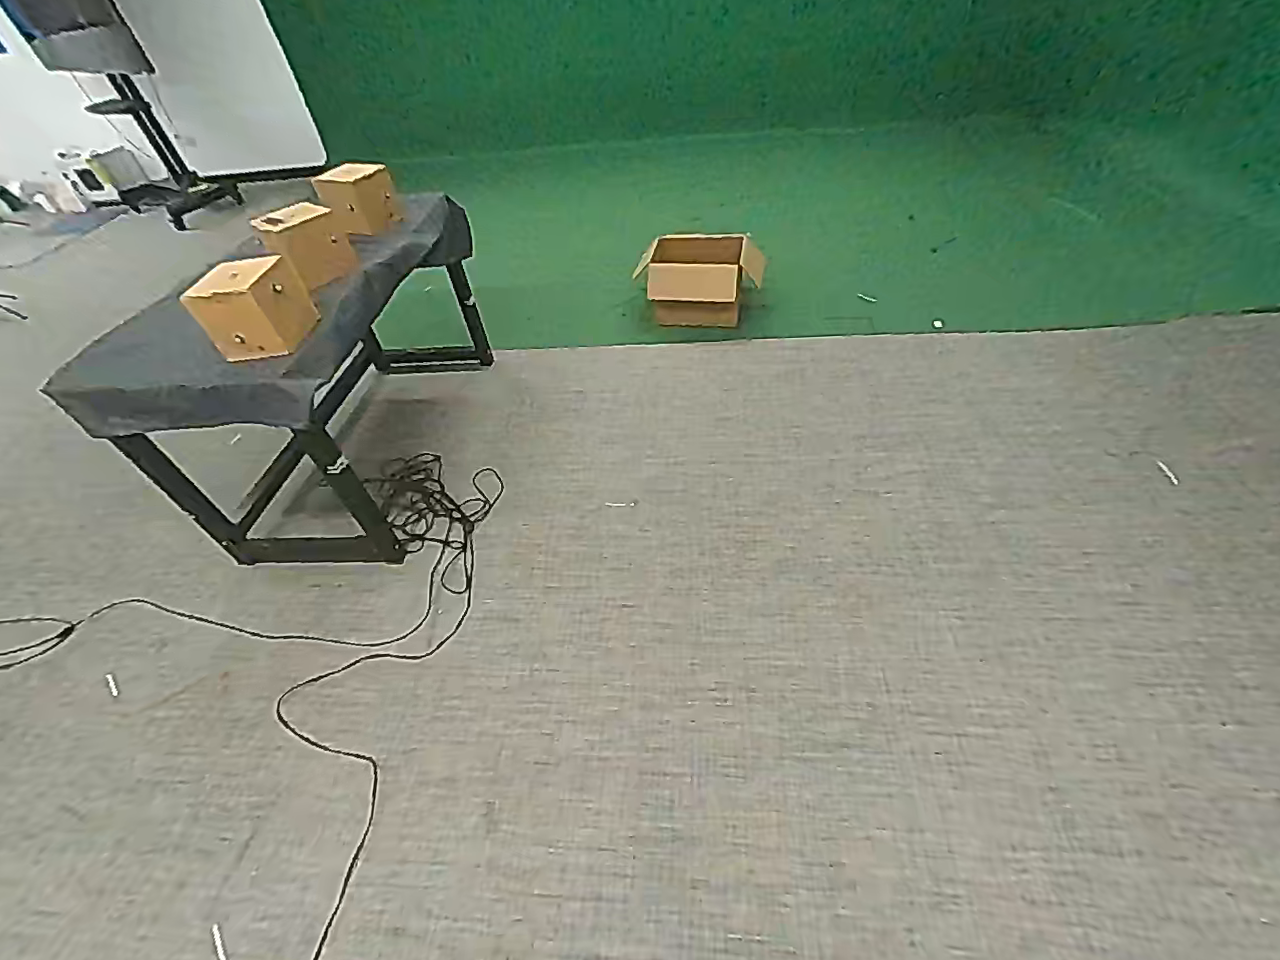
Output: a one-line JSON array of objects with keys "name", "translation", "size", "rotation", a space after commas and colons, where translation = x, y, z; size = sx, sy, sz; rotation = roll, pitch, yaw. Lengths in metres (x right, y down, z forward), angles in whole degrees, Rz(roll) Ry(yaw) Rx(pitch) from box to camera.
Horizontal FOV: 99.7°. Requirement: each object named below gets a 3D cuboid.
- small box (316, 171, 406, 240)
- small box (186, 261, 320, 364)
[{"name": "small box", "translation": [-0.934, -0.925, 1.828], "size": [0.179, 0.176, 0.168], "rotation": [12, 47, 20]}, {"name": "small box", "translation": [-0.910, -0.401, 1.297], "size": [0.168, 0.176, 0.179], "rotation": [-5, 45, 6]}]
